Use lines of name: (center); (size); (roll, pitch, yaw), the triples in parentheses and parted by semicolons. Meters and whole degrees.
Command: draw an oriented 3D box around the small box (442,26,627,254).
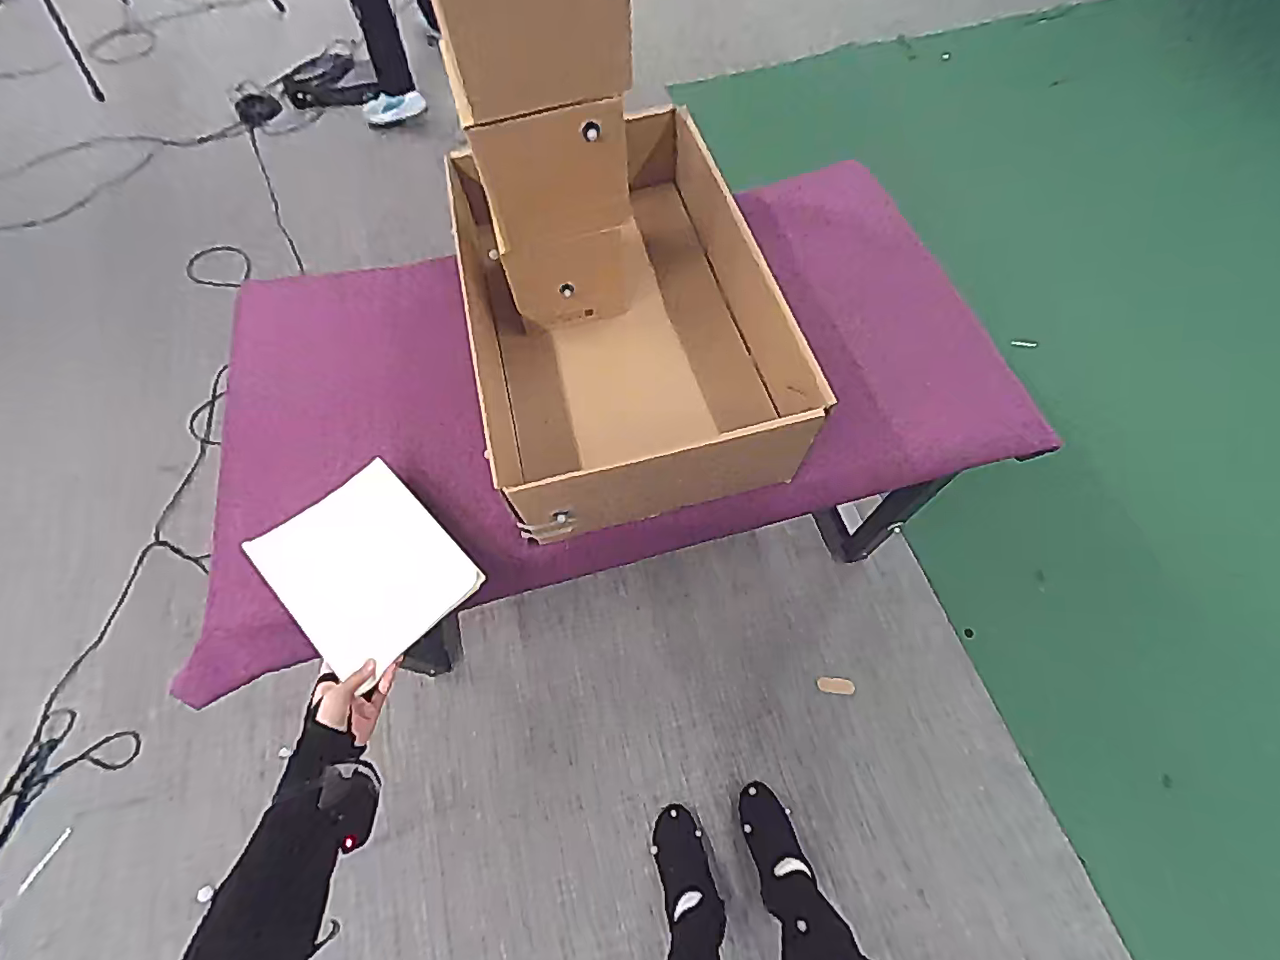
small box: (-0.123, -0.415, 0.678); (0.179, 0.176, 0.168); (-17, 66, -6)

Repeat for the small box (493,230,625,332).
small box: (-0.124, -0.347, 0.825); (0.168, 0.176, 0.179); (-14, 66, -4)
